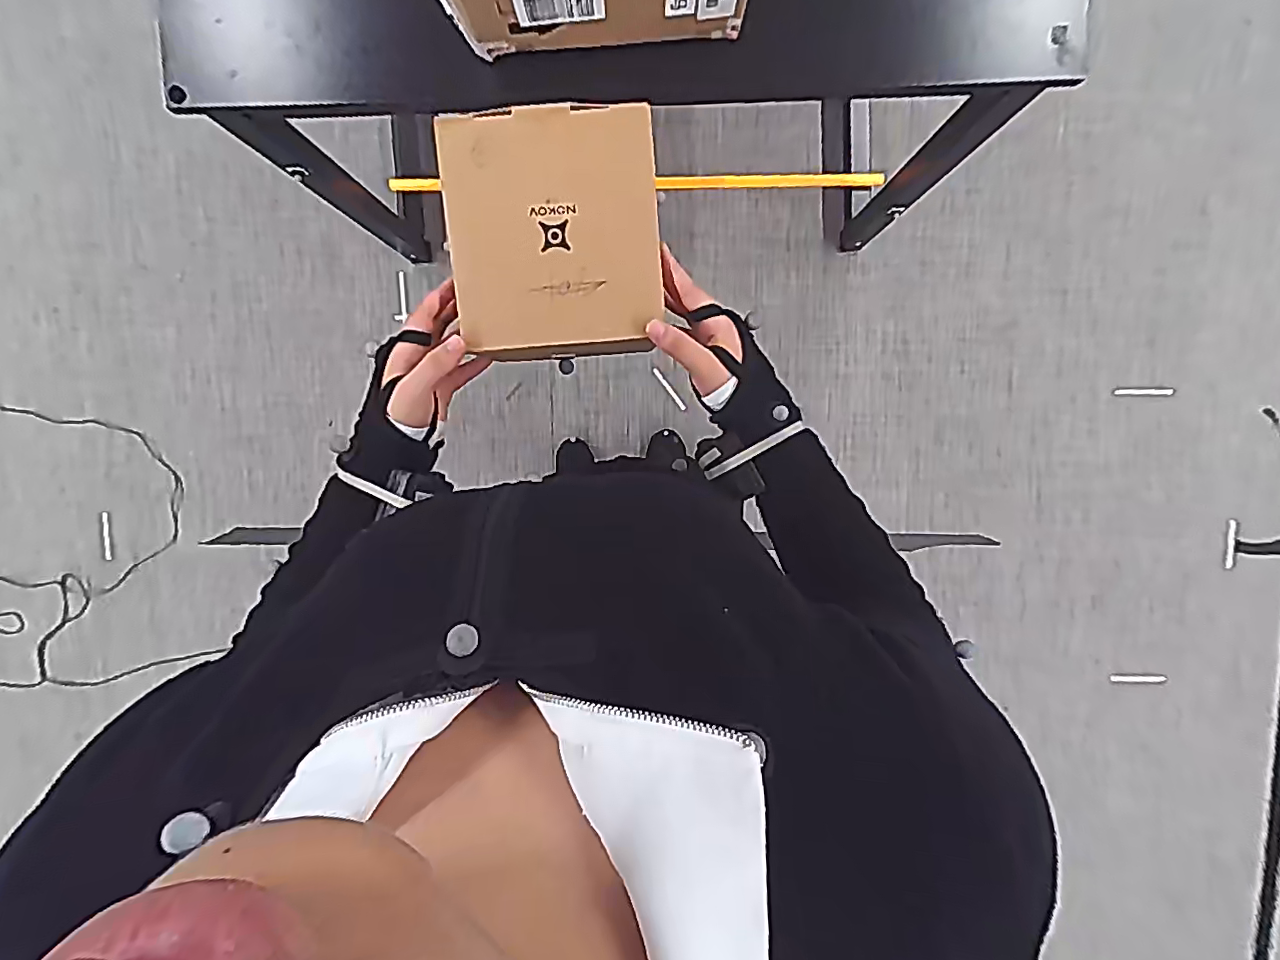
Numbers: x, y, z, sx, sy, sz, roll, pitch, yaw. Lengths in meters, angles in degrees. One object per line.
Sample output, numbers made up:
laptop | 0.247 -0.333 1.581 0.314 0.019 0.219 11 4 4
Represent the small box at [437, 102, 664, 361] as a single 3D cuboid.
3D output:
small box | -0.071 -0.208 0.499 0.168 0.176 0.179 -5 100 -2
